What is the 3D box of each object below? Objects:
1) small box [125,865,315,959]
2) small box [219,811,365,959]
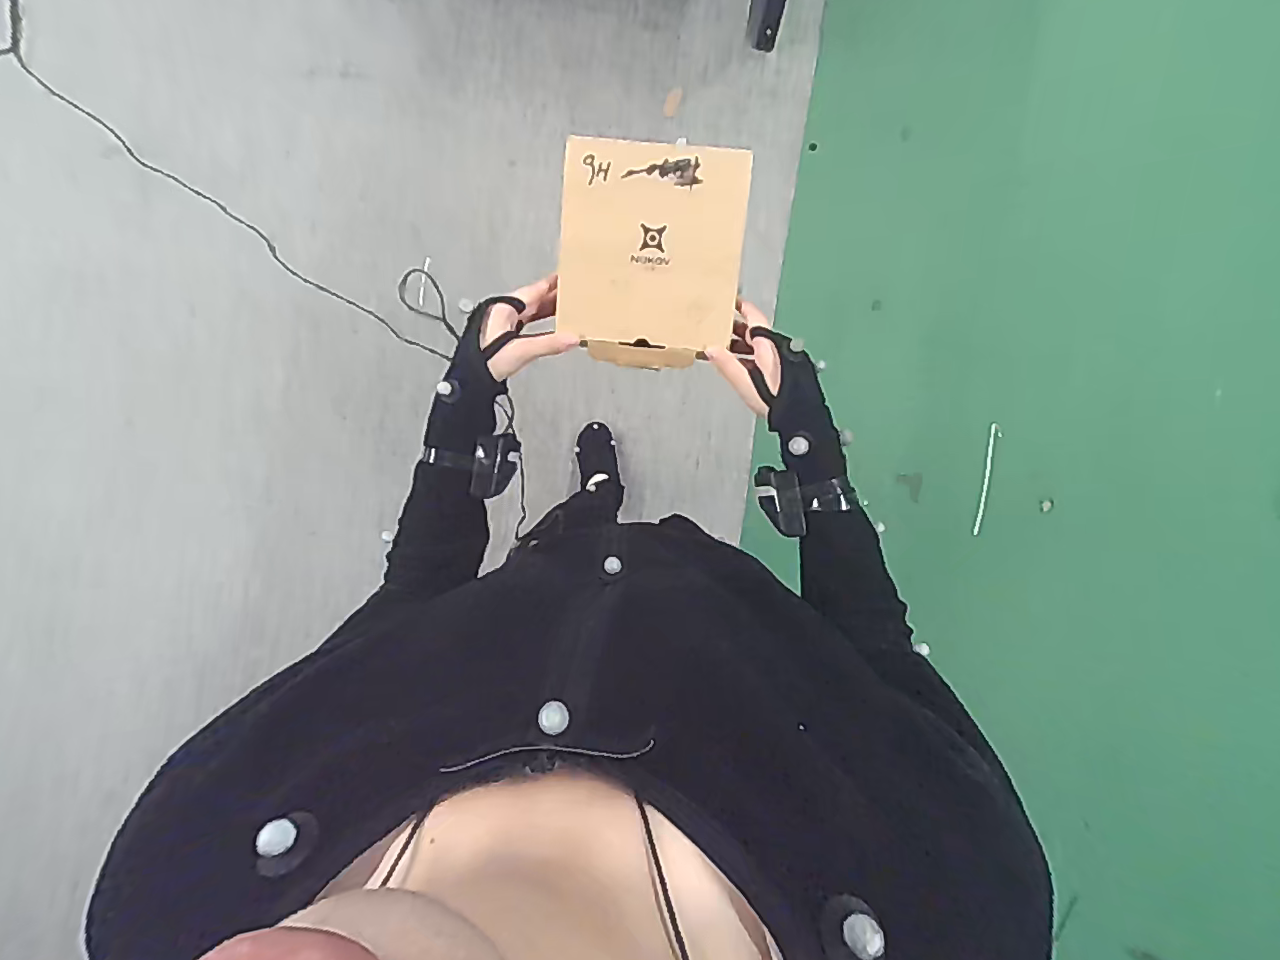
[{"bbox_3d":[-0.639,0.737,0.843,0.168,0.176,0.179,-5,89,1],"label":"small box"},{"bbox_3d":[-0.637,0.745,1.007,0.168,0.176,0.179,-5,89,0],"label":"small box"}]
